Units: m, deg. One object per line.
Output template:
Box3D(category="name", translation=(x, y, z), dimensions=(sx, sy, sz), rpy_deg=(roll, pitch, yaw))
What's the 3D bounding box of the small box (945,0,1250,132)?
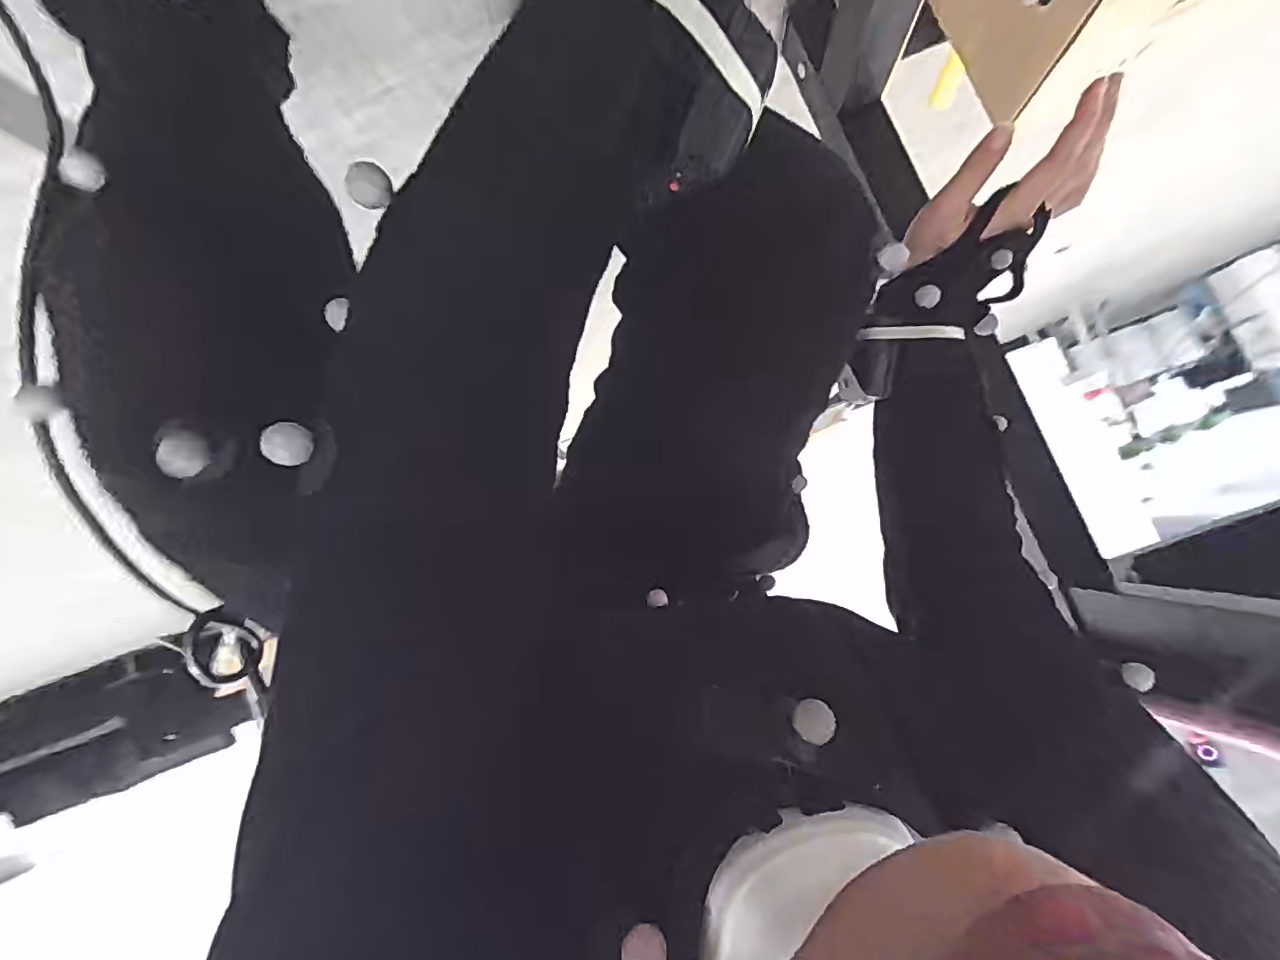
Box3D(category="small box", translation=(0.340, -0.406, 0.378), dimensions=(0.168, 0.176, 0.179), rpy_deg=(-20, 173, 5))
